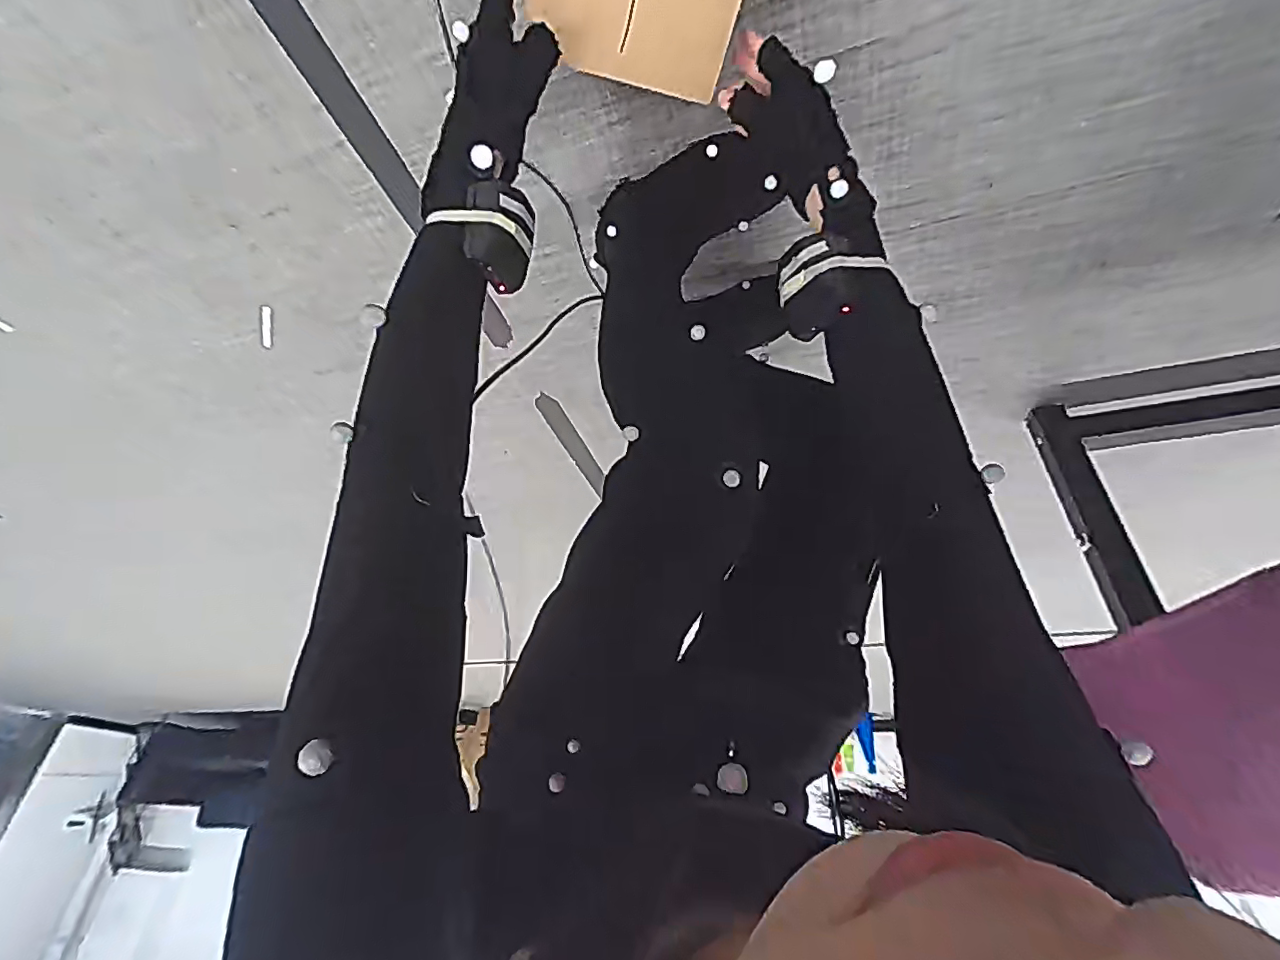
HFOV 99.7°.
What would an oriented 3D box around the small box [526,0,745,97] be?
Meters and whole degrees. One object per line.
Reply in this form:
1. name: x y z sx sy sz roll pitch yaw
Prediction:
1. small box: 0.008 -0.455 0.426 0.168 0.176 0.179 9 147 -9
